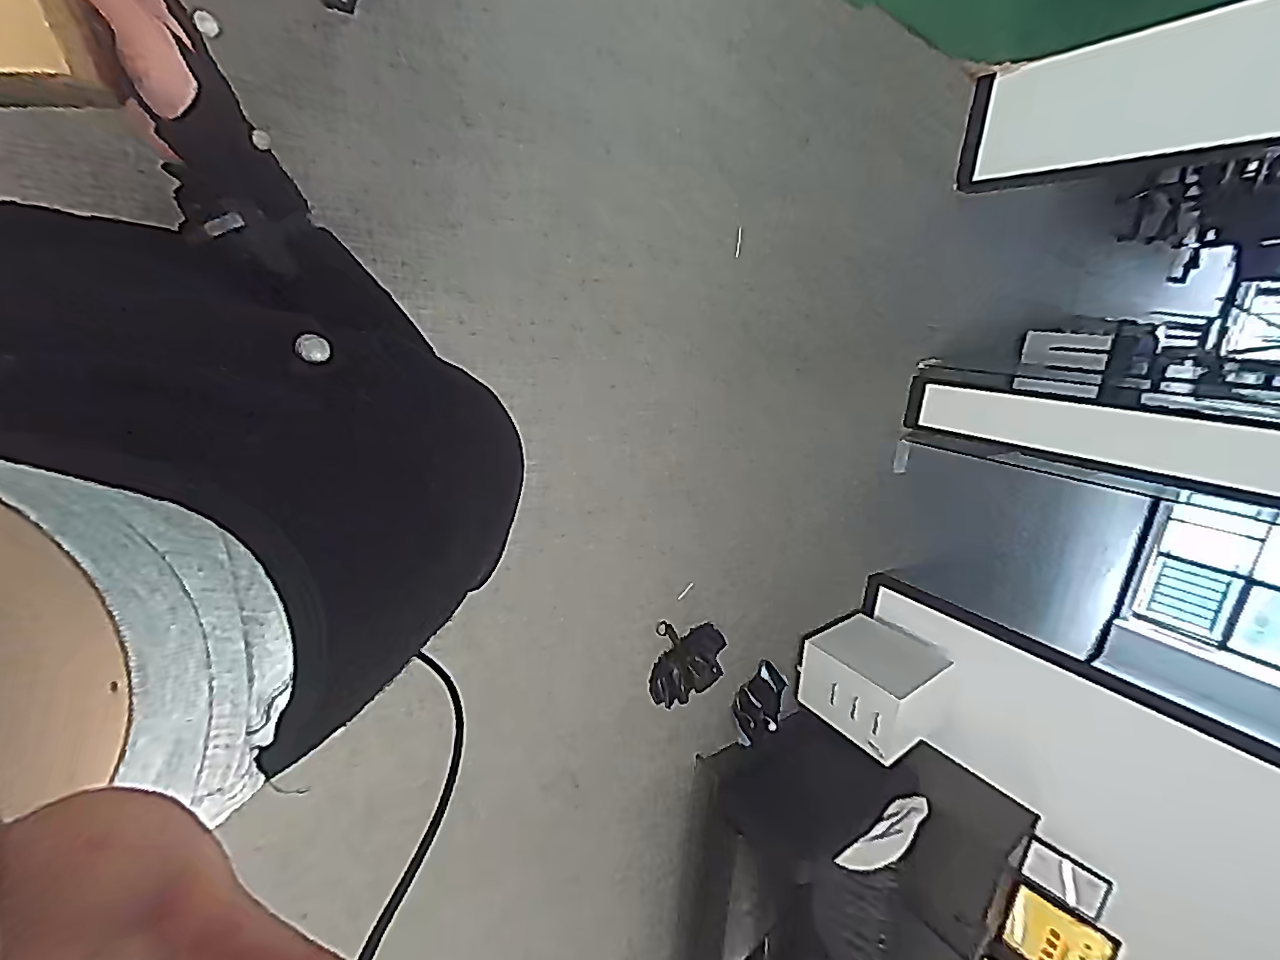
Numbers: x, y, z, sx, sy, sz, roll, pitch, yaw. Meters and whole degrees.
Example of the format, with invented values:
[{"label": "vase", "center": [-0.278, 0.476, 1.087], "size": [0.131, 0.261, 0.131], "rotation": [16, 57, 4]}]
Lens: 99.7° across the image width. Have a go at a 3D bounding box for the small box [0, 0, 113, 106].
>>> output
[{"label": "small box", "center": [-0.390, -0.282, 0.241], "size": [0.168, 0.176, 0.179], "rotation": [-19, 126, -27]}]
